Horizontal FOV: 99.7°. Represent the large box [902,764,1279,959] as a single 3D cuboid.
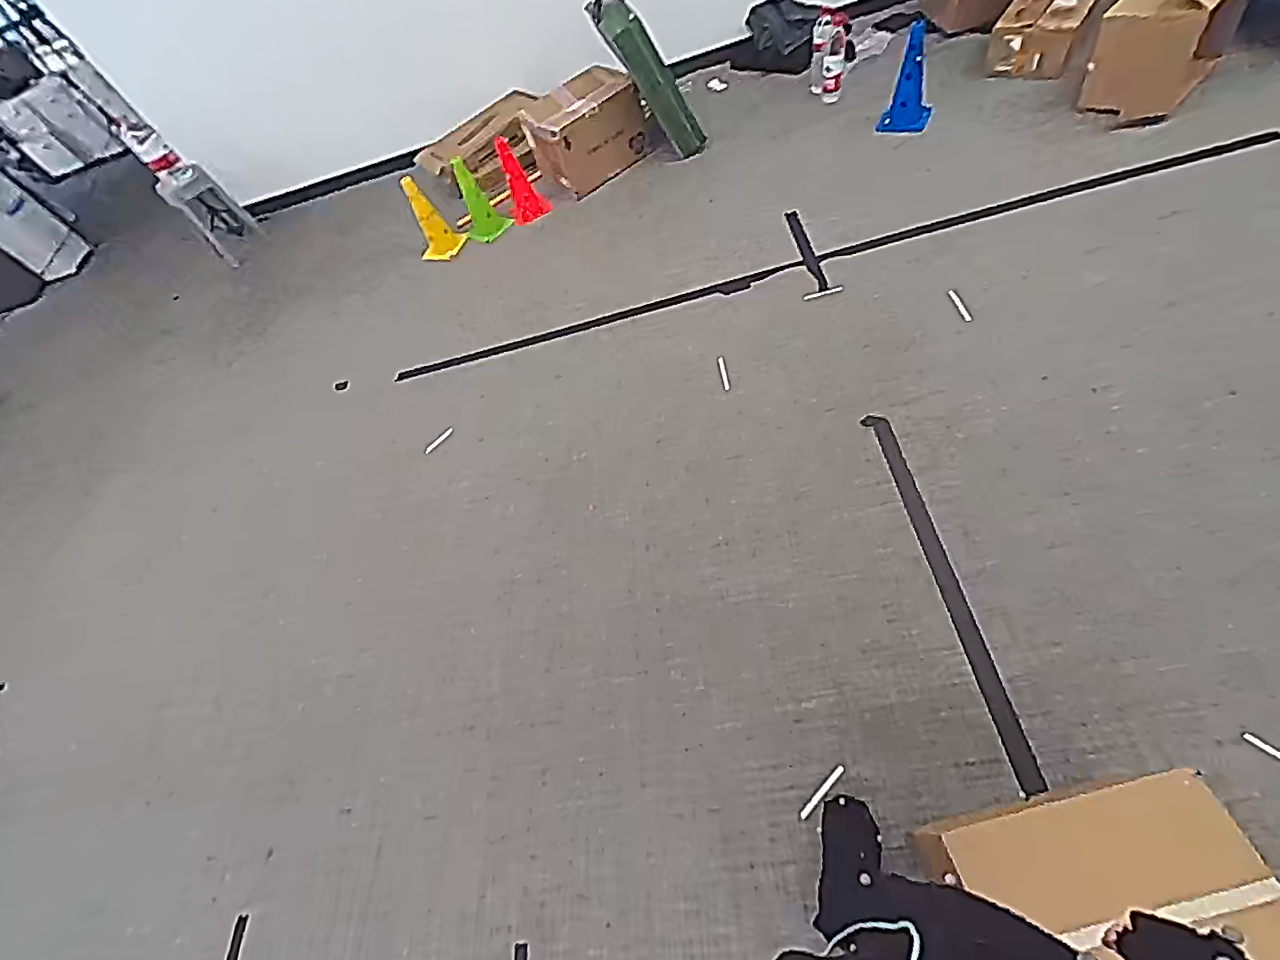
[{"bbox_3d":[0.721,0.706,0.891,0.408,0.320,0.320,-18,56,3],"label":"large box"}]
